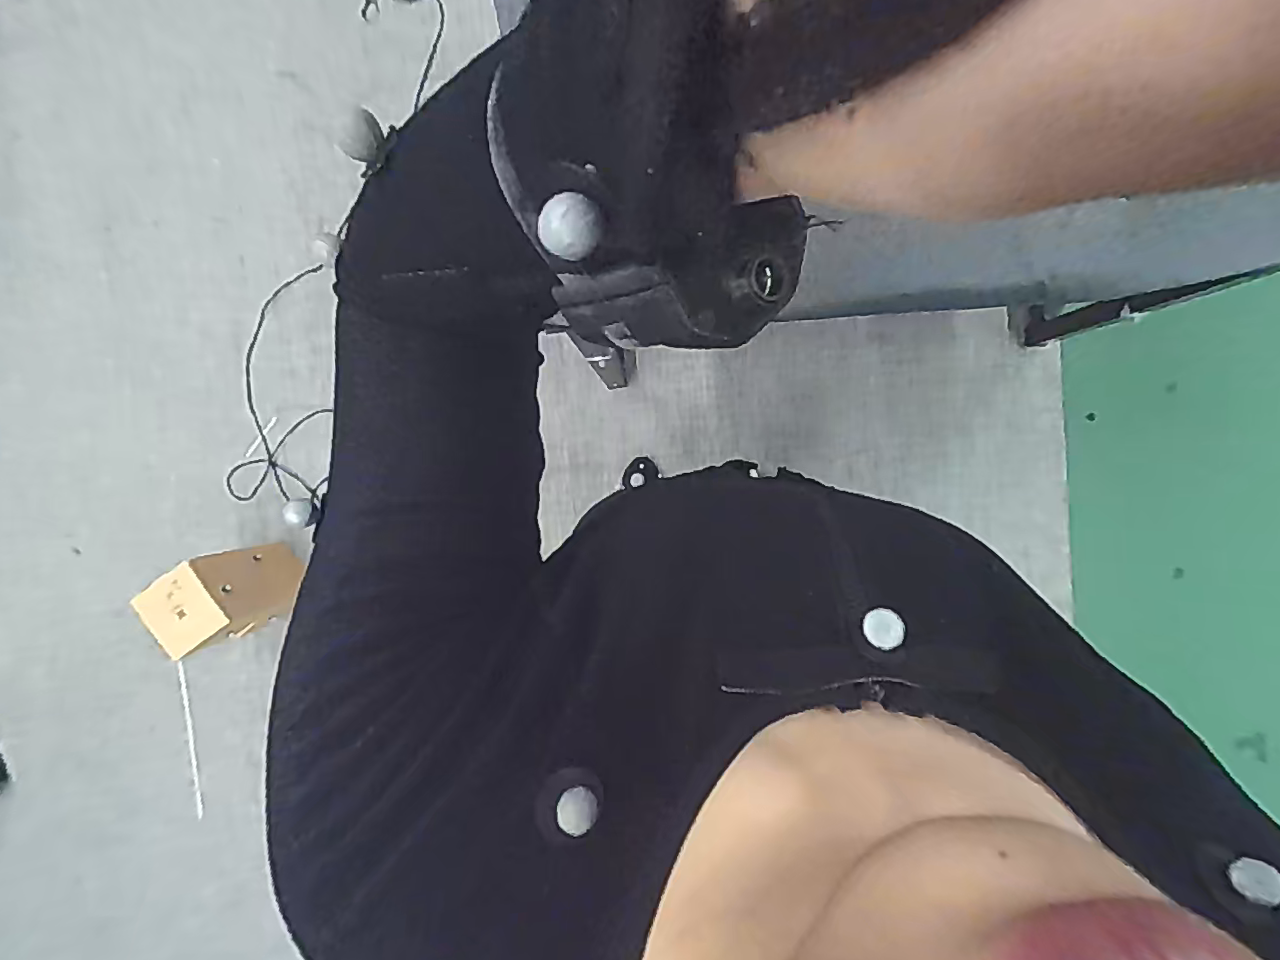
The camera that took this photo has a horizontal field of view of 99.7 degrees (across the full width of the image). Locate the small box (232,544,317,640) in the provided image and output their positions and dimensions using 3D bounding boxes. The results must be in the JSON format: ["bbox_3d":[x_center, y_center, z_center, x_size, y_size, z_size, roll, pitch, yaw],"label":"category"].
[{"bbox_3d":[-1.024,0.292,1.458,0.168,0.176,0.179,-40,90,3],"label":"small box"}]

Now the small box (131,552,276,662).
[{"bbox_3d":[-1.029,0.294,1.293,0.168,0.176,0.179,-35,90,2],"label":"small box"}]
